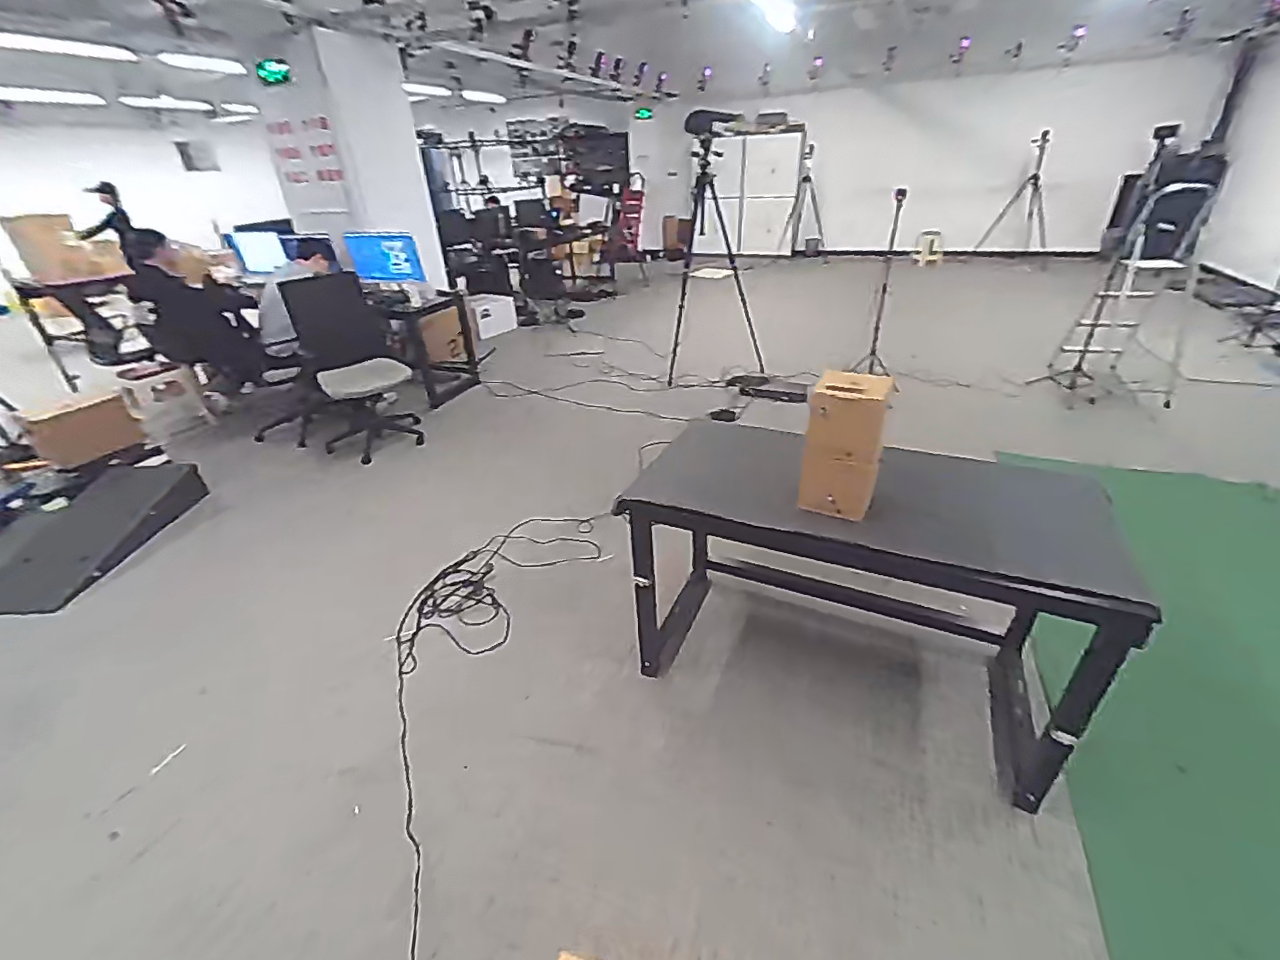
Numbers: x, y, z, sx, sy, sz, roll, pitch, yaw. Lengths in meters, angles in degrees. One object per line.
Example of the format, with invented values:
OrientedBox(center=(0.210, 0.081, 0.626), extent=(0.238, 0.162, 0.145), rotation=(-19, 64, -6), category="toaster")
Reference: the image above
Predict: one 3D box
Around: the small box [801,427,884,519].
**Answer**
OrientedBox(center=(0.534, -0.022, 1.437), extent=(0.168, 0.176, 0.179), rotation=(13, 34, 27), category="small box")
